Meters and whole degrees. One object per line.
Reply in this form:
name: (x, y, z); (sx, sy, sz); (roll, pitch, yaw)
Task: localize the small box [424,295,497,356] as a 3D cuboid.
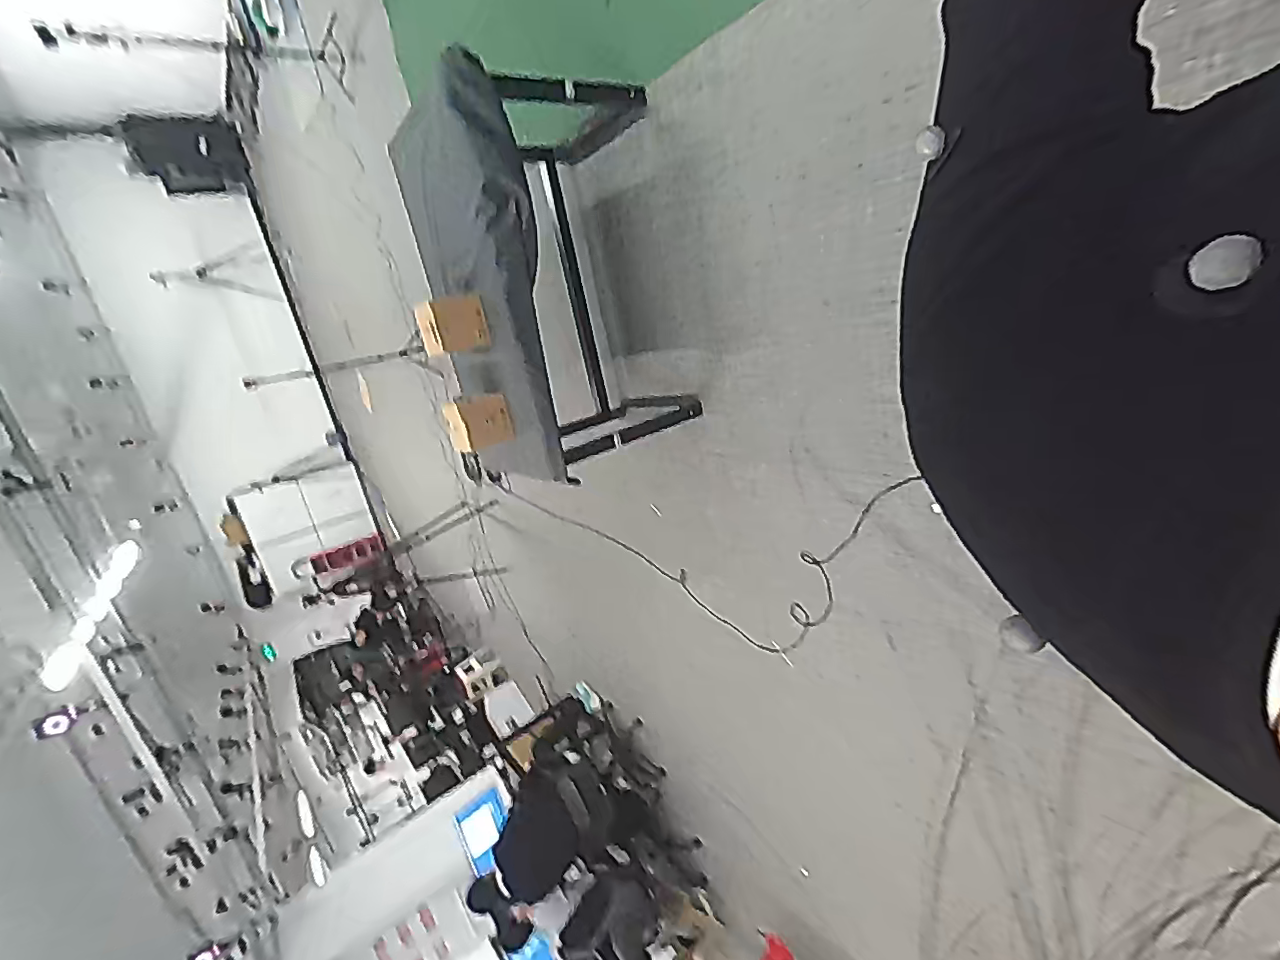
small box: (-0.593, -0.516, 1.807); (0.179, 0.176, 0.168); (13, 119, 53)

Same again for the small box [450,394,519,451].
small box: (-0.543, -0.207, 1.916); (0.179, 0.176, 0.168); (7, 114, 53)
